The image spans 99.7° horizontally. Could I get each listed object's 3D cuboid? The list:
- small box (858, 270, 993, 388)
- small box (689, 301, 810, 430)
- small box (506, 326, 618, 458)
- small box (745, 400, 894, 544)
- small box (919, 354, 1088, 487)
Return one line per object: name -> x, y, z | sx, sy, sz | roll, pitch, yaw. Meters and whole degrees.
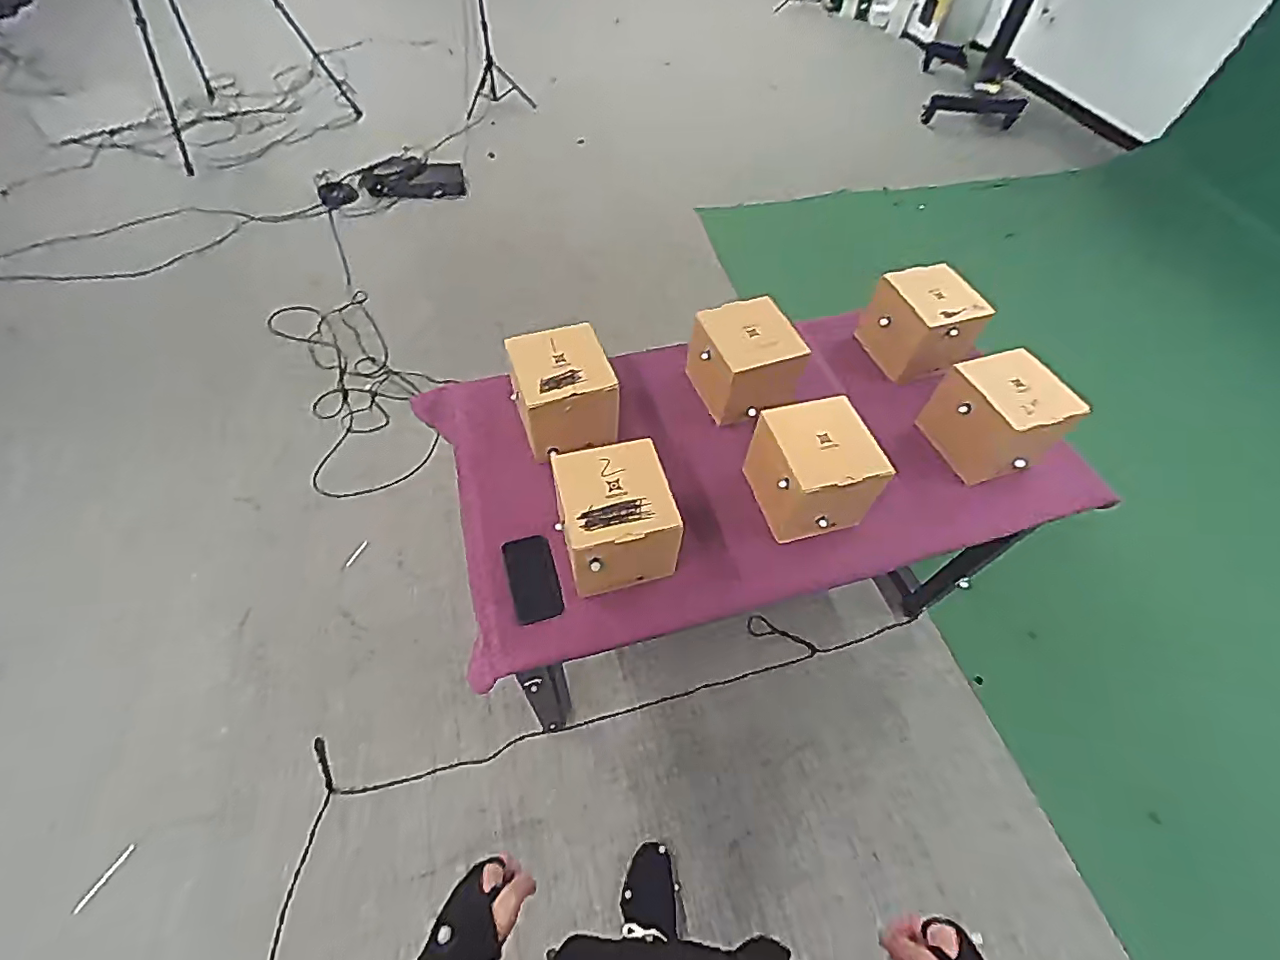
small box -> 0.618, -0.333, 1.199 | 0.168, 0.176, 0.179 | -14, 57, -12
small box -> 0.212, -0.232, 1.105 | 0.168, 0.176, 0.179 | -16, 59, -13
small box -> -0.145, -0.160, 1.031 | 0.168, 0.176, 0.179 | -16, 57, -14
small box -> 0.303, -0.013, 0.959 | 0.168, 0.176, 0.179 | -11, 56, -11
small box -> 0.686, -0.114, 1.048 | 0.168, 0.176, 0.179 | -14, 57, -12
